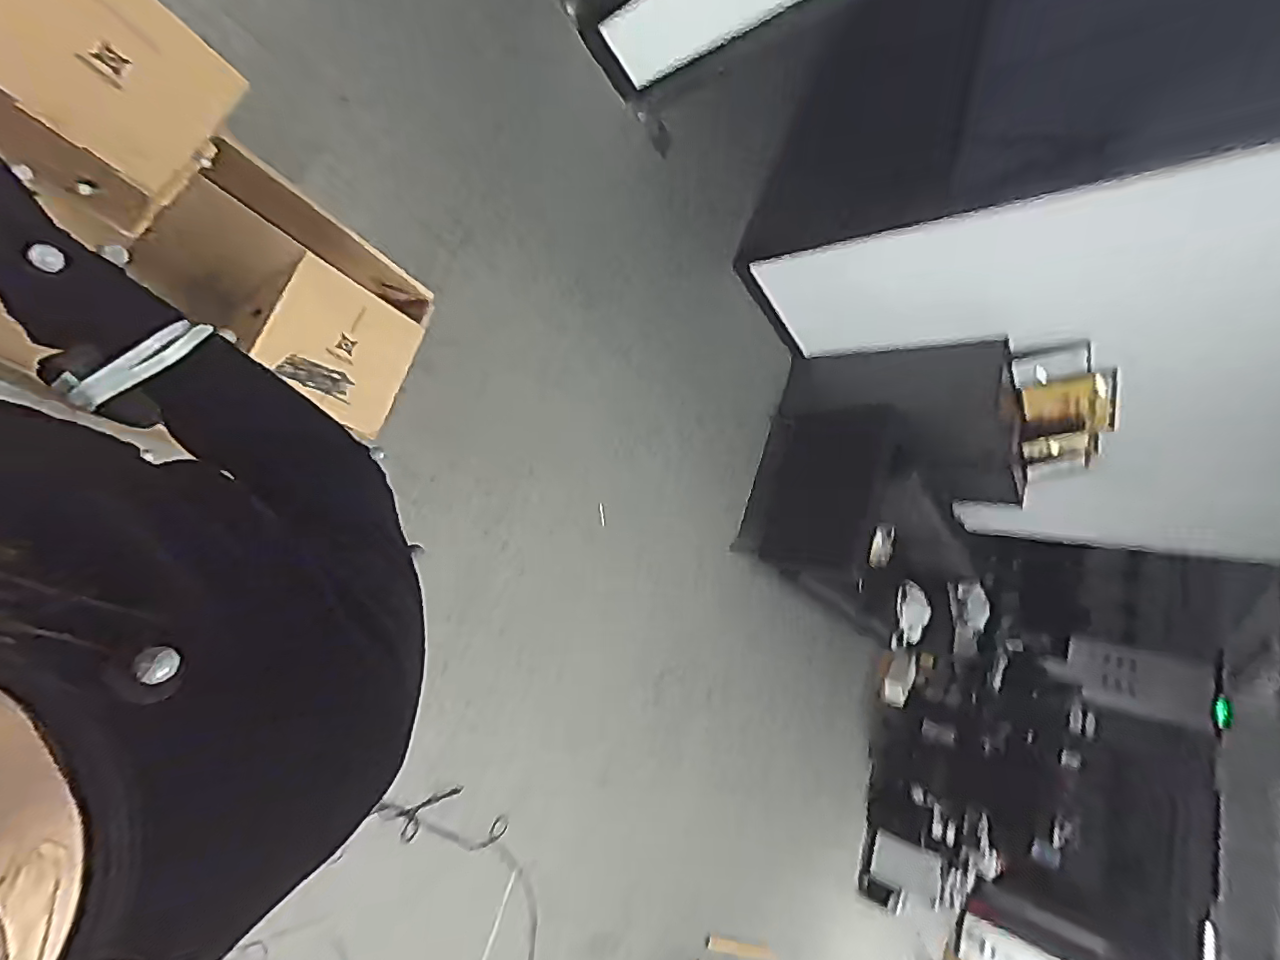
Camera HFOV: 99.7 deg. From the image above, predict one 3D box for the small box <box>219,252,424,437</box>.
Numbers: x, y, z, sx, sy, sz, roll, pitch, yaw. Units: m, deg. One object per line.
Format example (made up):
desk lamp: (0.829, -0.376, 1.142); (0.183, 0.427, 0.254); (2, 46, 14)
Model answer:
small box: (-0.436, -0.171, 0.739); (0.168, 0.176, 0.179); (33, 69, -45)

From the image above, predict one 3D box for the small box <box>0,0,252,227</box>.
small box: (-0.564, -0.403, 0.572); (0.168, 0.176, 0.179); (40, 64, -45)
